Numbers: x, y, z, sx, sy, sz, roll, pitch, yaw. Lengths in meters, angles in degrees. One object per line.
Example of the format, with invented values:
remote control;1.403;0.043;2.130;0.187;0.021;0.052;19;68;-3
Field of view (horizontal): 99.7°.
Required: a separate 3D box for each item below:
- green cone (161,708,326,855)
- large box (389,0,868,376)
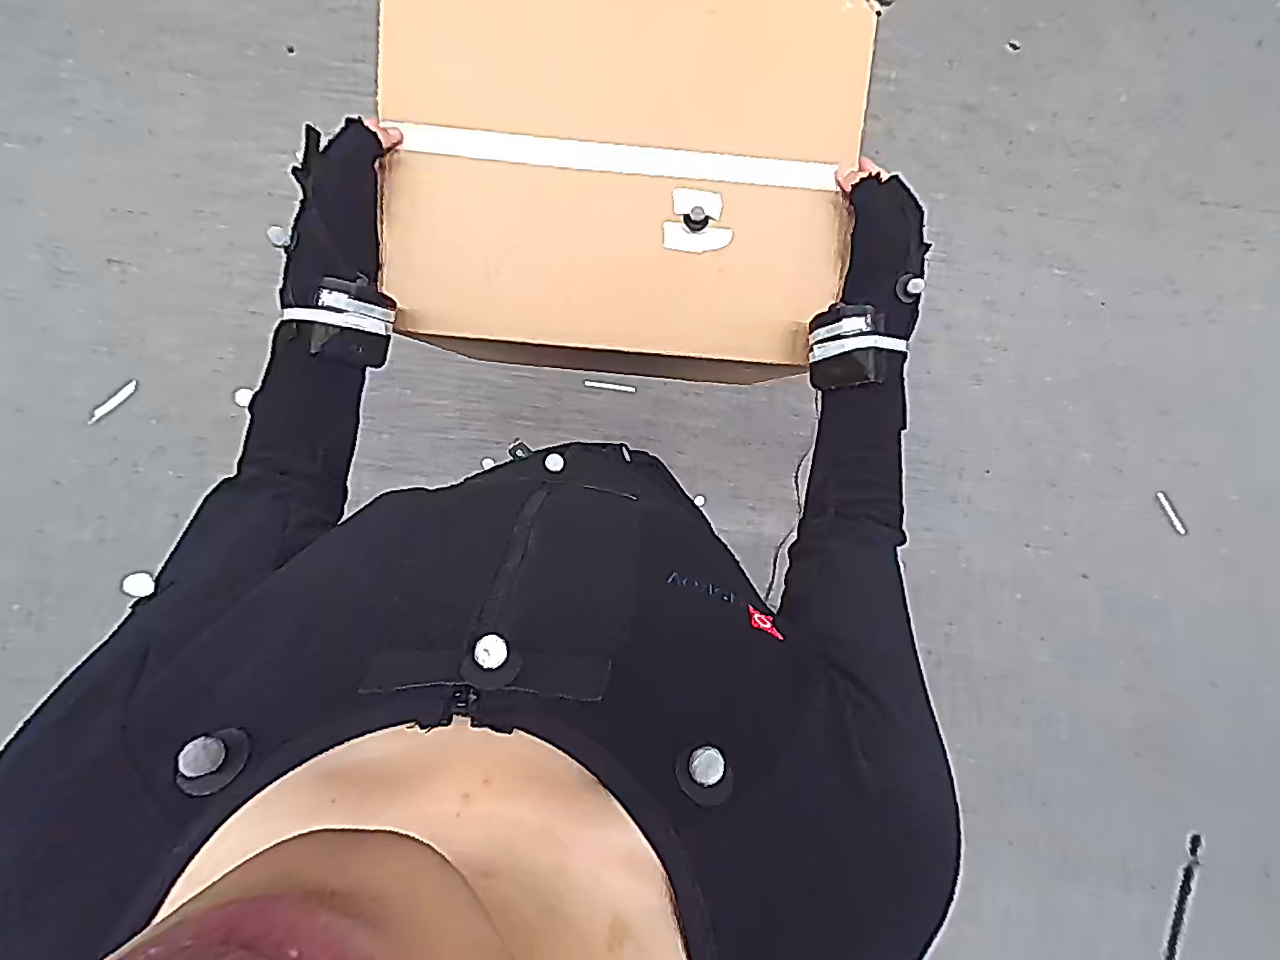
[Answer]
green cone;-1.002;0.767;1.334;0.202;0.368;0.200;-31;93;3
large box;-0.021;-0.294;0.611;0.408;0.320;0.320;4;98;-3
